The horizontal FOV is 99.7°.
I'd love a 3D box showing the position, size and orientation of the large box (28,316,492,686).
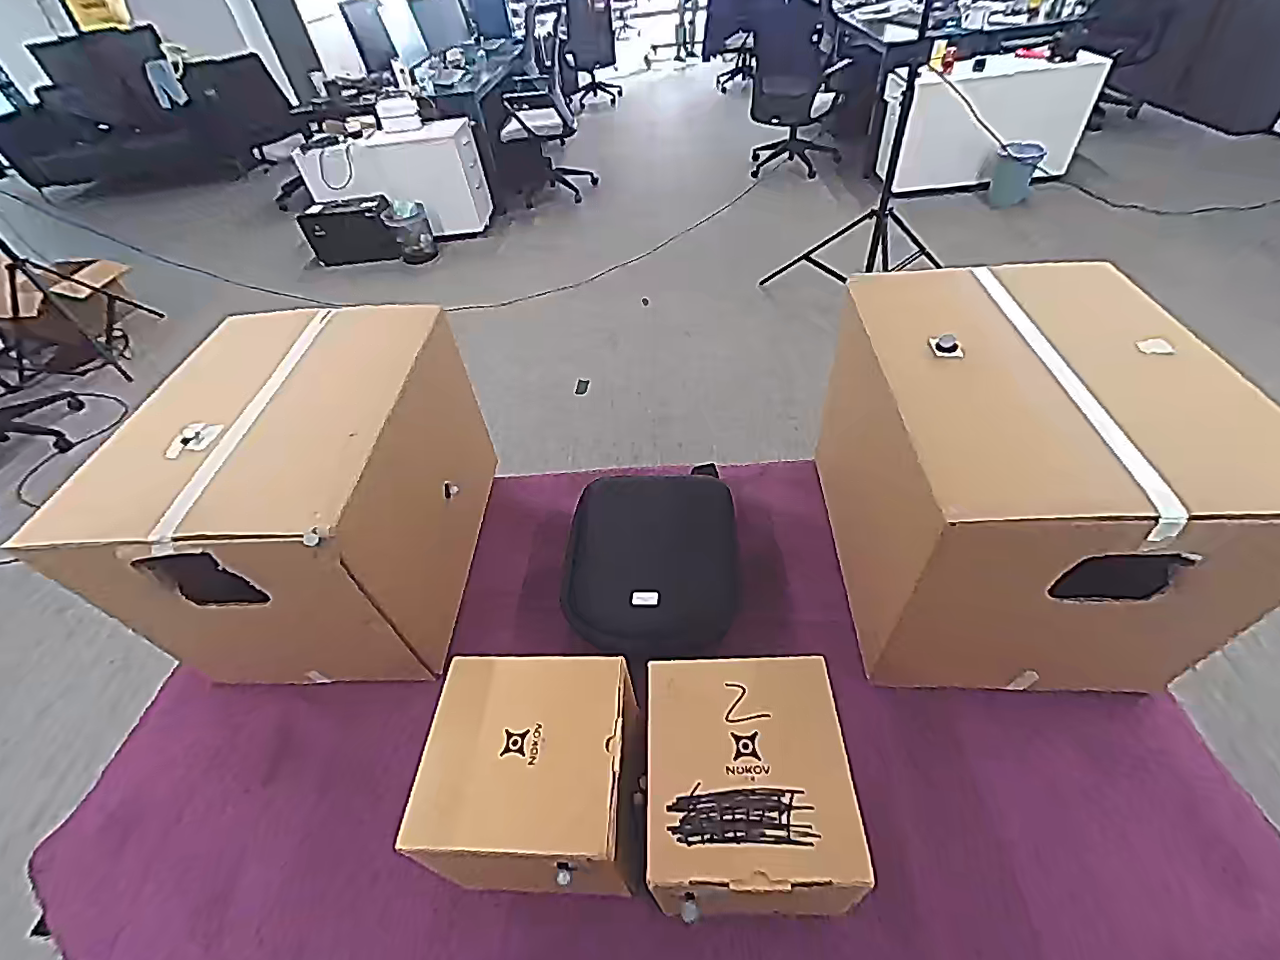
[{"bbox_3d":[-0.416,0.023,0.738,0.320,0.320,0.408,-3,48,3],"label":"large box"}]
